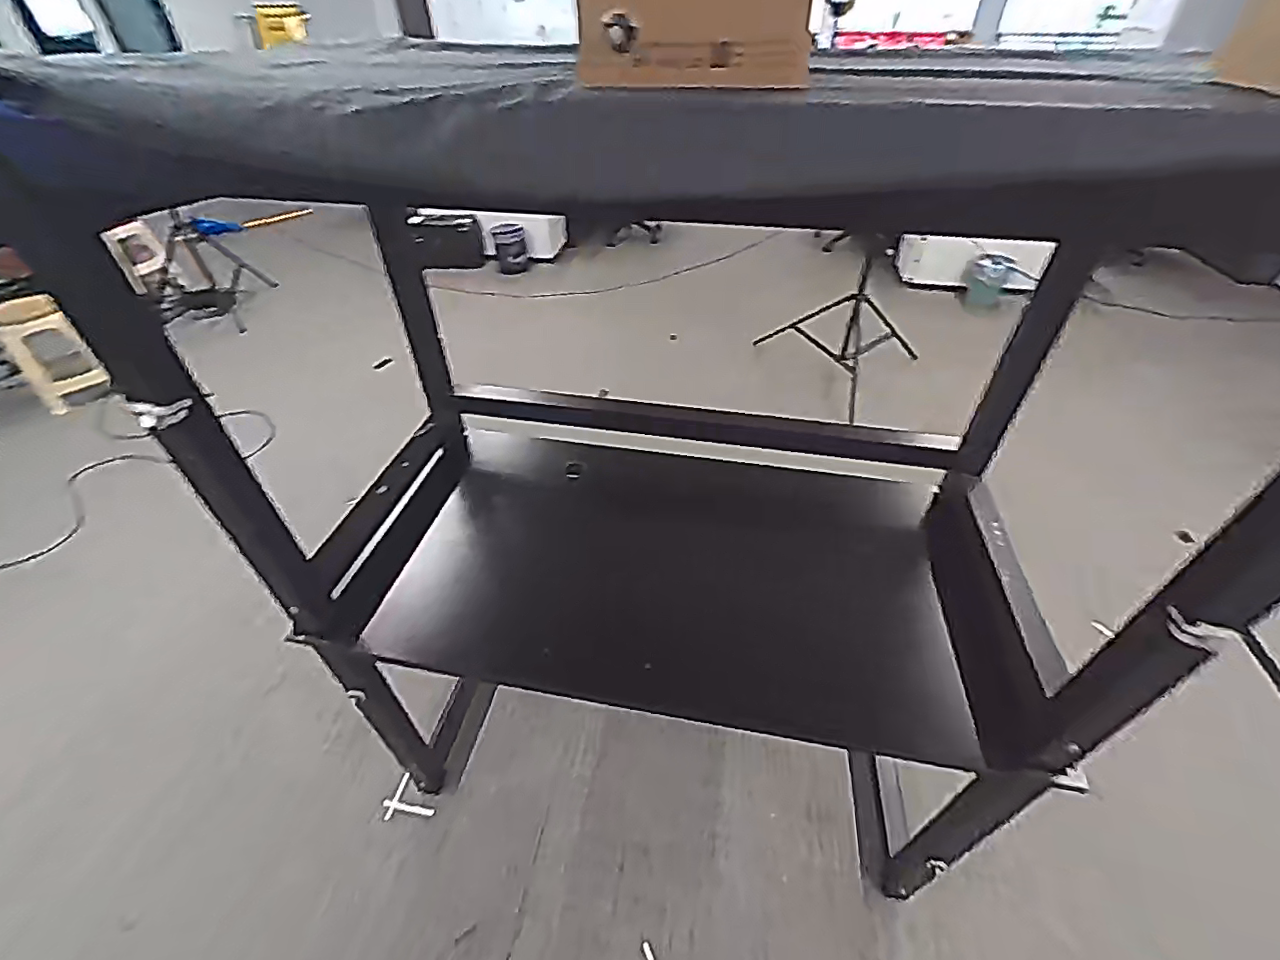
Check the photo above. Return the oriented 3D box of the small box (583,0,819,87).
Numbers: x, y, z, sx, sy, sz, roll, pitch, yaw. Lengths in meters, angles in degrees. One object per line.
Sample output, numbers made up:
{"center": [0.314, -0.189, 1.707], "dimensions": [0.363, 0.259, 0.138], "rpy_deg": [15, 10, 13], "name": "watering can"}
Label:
{"center": [0.052, -0.402, 0.403], "dimensions": [0.168, 0.176, 0.179], "rpy_deg": [7, 40, 8], "name": "small box"}
